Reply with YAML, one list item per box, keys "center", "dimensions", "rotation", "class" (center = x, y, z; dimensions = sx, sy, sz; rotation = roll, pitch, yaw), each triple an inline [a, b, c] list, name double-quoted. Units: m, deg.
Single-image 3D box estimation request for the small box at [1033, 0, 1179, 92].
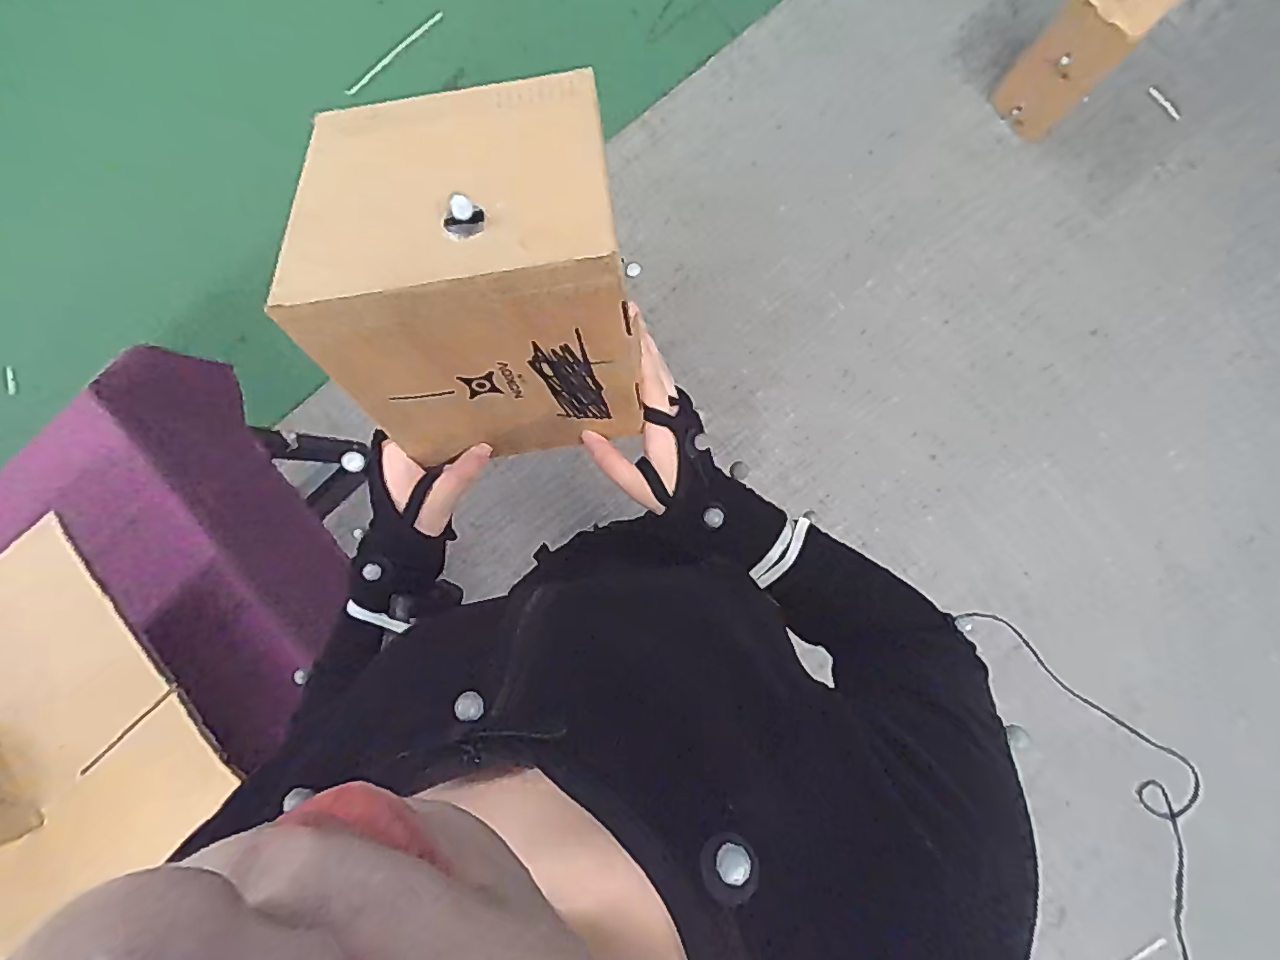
- center: [1.020, -1.014, 1.177]
  dimensions: [0.179, 0.176, 0.168]
  rotation: [-42, 85, 4]
  class: "small box"
